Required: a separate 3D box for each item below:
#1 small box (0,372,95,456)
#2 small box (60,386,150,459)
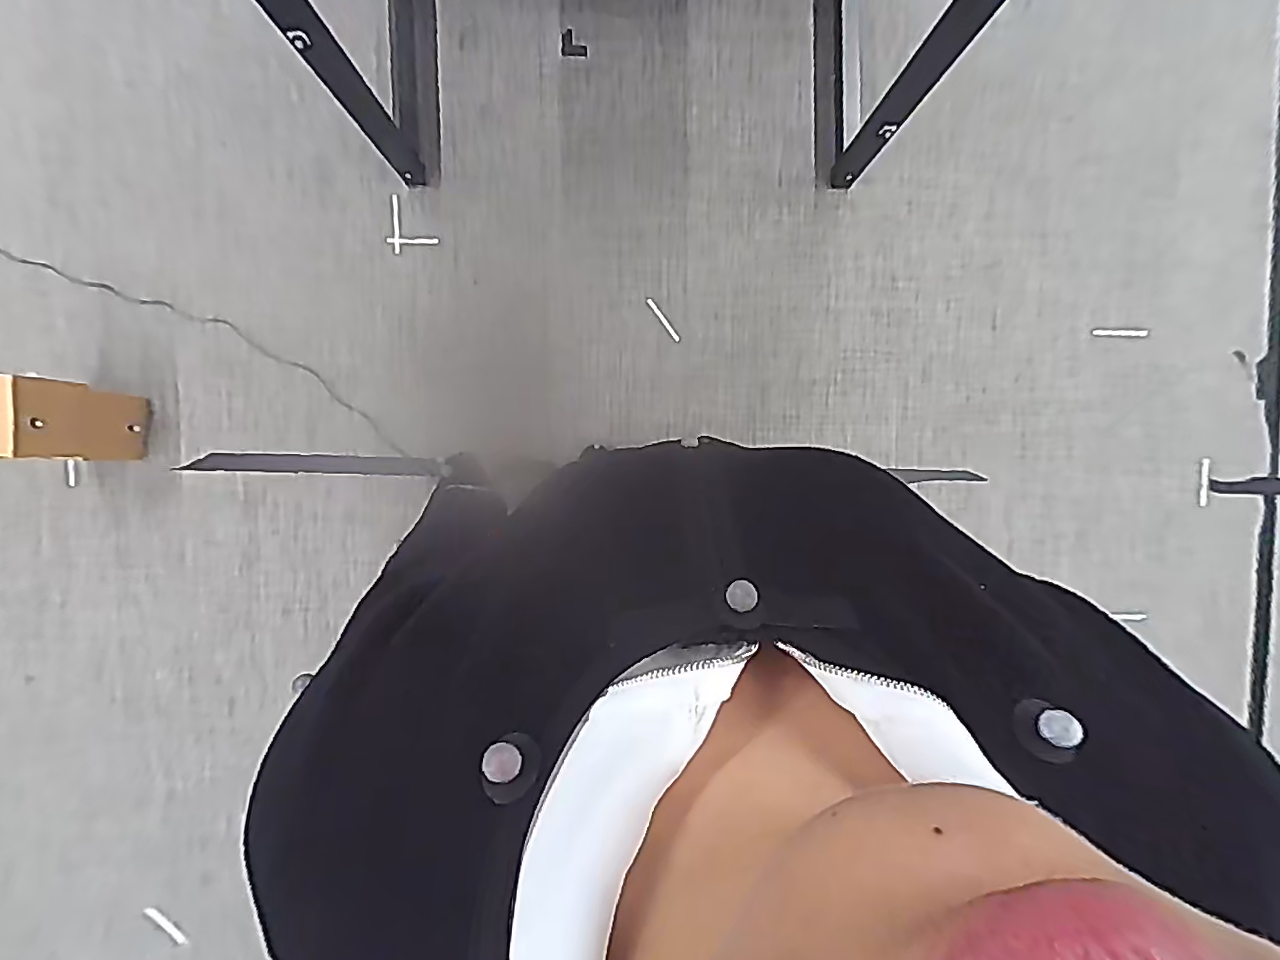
[{"bbox_3d":[-1.378,-0.144,1.207,0.168,0.176,0.179,1,93,-2],"label":"small box"},{"bbox_3d":[-1.399,-0.149,1.372,0.168,0.176,0.179,7,92,-2],"label":"small box"}]
